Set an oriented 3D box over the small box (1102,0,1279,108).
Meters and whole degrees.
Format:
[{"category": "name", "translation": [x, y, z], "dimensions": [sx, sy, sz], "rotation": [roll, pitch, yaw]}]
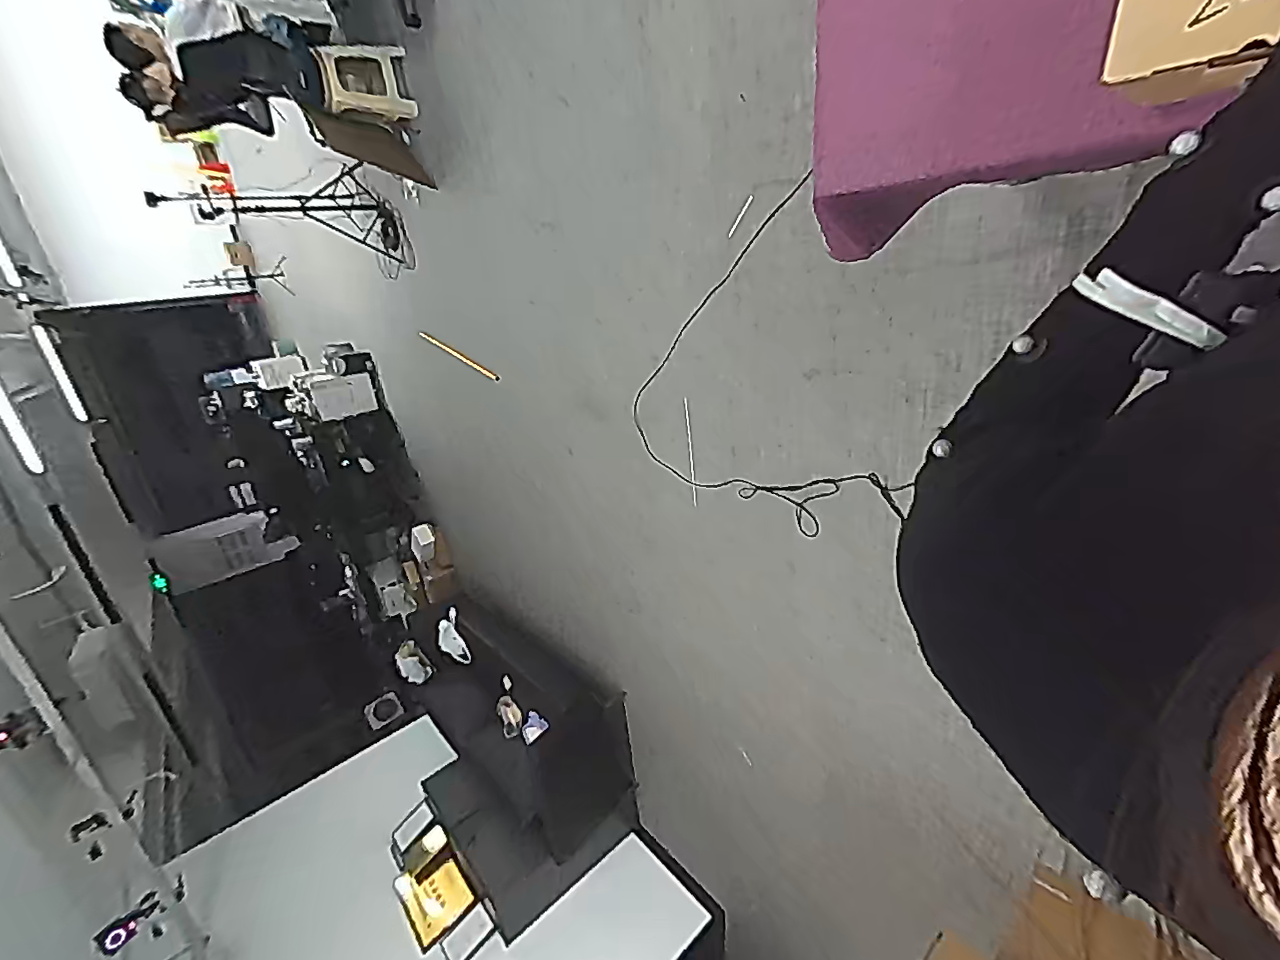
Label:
[{"category": "small box", "translation": [0.475, -0.391, 0.385], "dimensions": [0.168, 0.176, 0.179], "rotation": [23, 125, 46]}]
